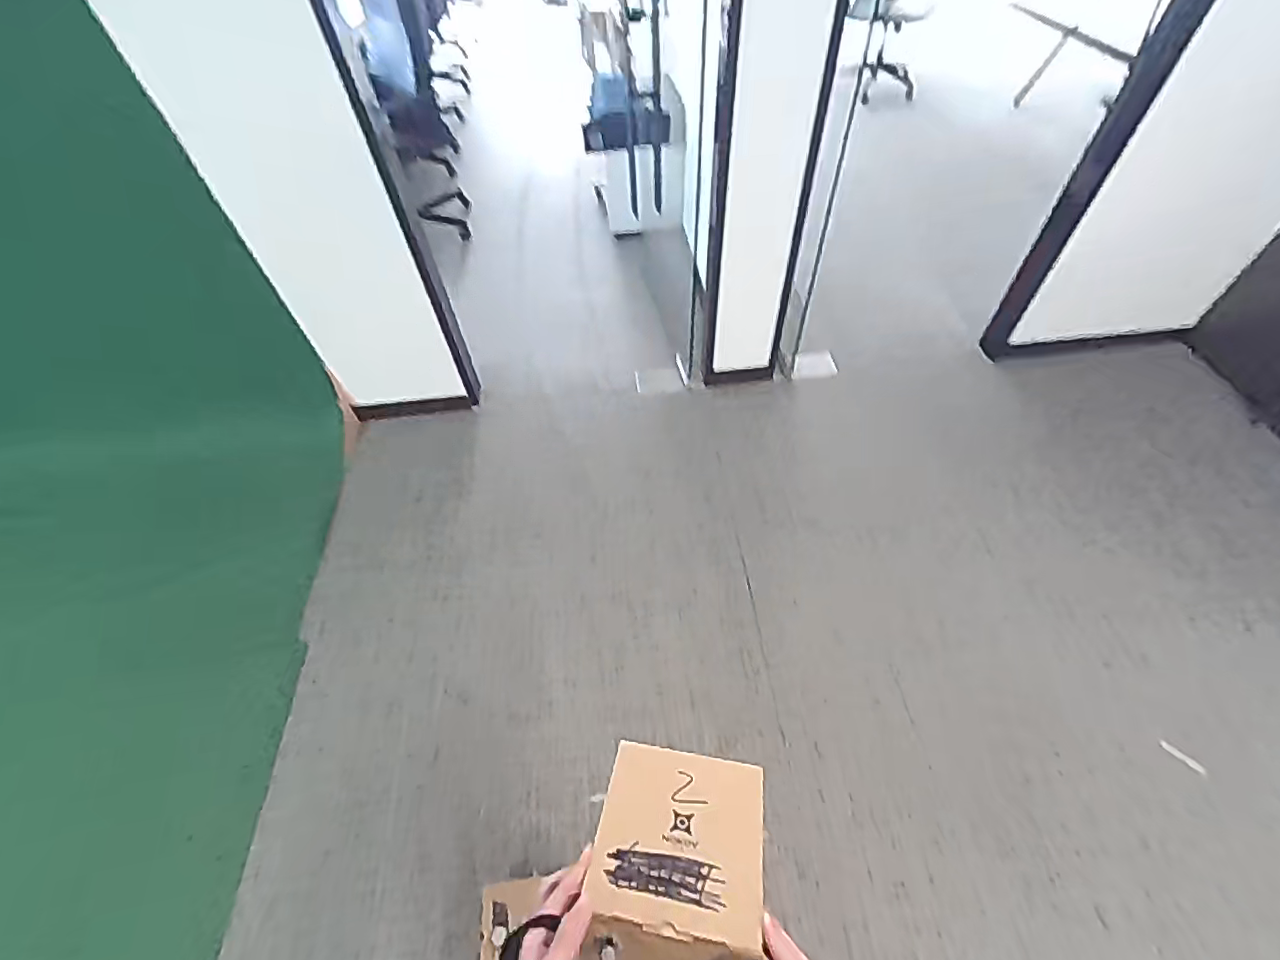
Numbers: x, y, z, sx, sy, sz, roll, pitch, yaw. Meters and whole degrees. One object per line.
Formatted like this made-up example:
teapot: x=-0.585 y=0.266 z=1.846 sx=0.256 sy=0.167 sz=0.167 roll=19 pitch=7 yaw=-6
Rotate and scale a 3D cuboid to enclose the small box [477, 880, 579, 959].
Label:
small box: x=-0.224 y=0.937 z=1.112 sx=0.179 sy=0.176 sz=0.168 roll=-5 pitch=52 yaw=-3
